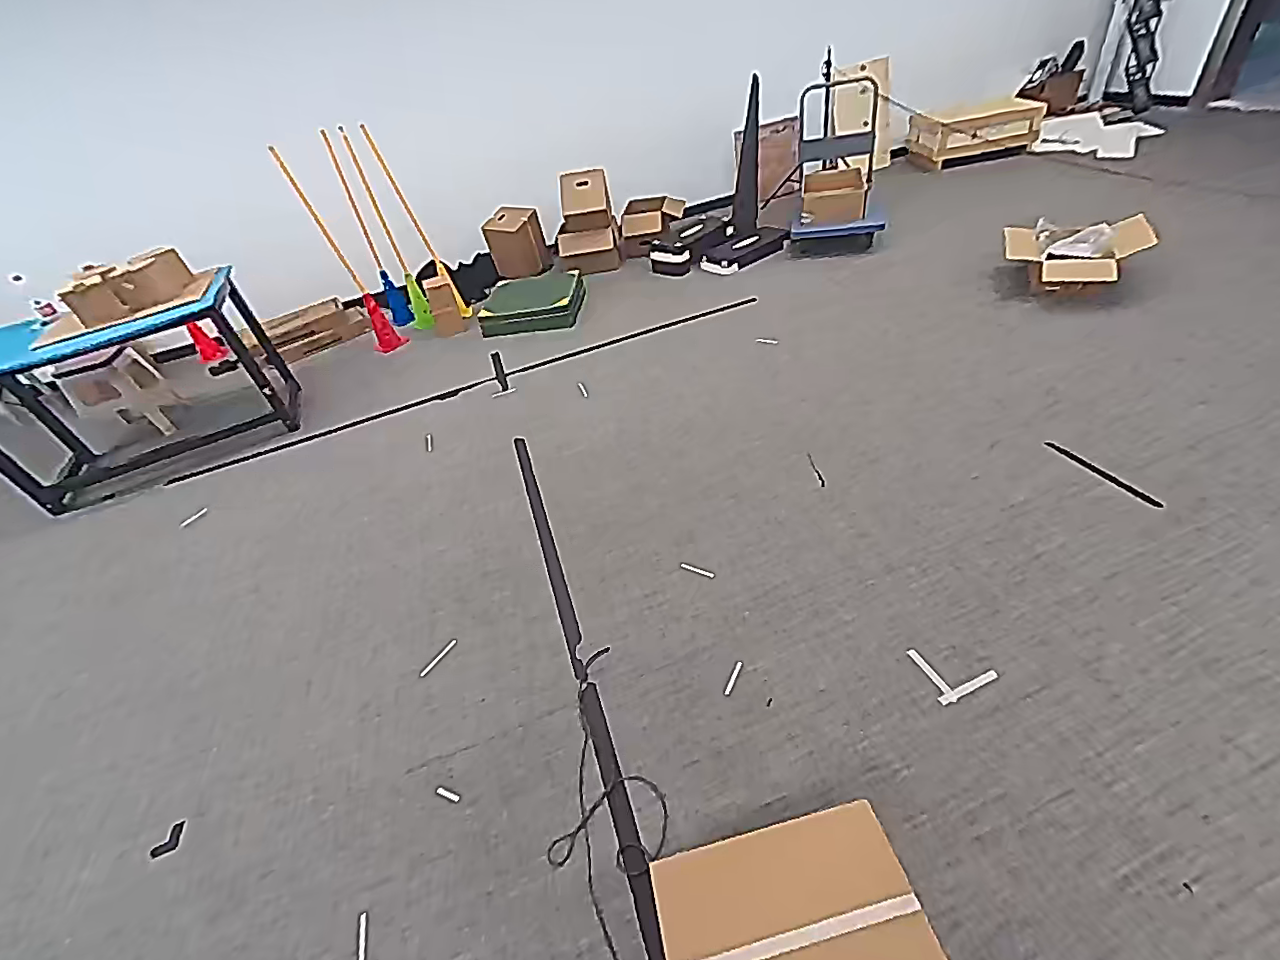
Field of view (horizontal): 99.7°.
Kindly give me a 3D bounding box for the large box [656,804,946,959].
[{"bbox_3d":[0.270,0.832,0.928,0.408,0.320,0.320,-14,40,-3],"label":"large box"}]
